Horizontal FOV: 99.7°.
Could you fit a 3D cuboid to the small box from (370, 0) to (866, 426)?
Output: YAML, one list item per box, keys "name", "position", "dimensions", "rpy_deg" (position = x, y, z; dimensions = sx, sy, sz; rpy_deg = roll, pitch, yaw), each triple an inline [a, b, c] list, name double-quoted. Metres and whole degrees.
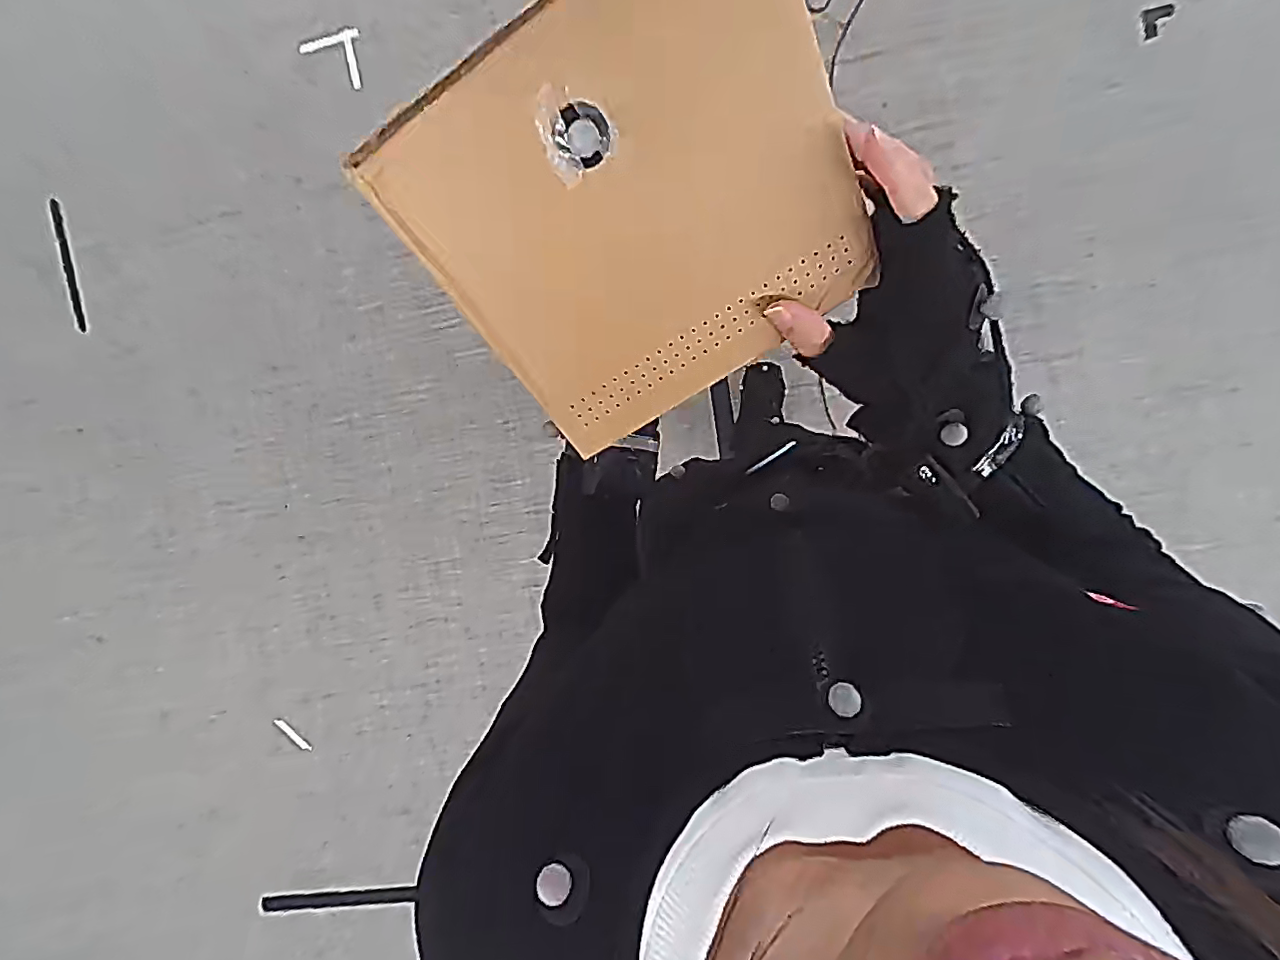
- name: "small box"
  position: [-0.005, -0.161, 0.308]
  dimensions: [0.179, 0.168, 0.176]
  rpy_deg: [-29, 125, 12]
